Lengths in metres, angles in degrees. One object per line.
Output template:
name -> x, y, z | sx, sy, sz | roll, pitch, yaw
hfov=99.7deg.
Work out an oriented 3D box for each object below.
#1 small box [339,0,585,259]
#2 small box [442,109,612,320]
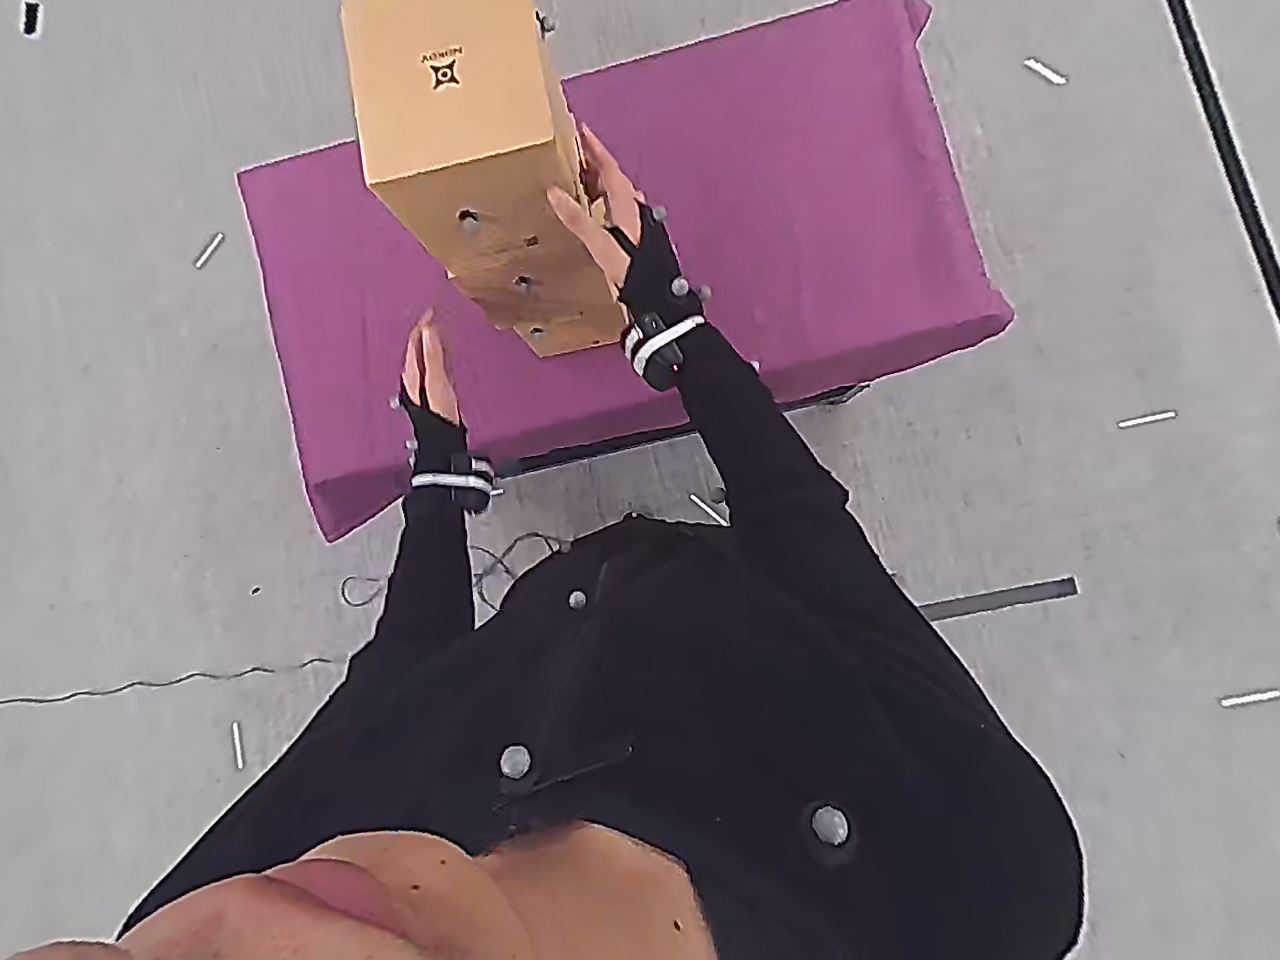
small box -> -0.159, -0.341, 0.532 | 0.168, 0.176, 0.179 | -11, 84, 4
small box -> -0.143, -0.323, 0.694 | 0.179, 0.176, 0.168 | -11, 86, 4
